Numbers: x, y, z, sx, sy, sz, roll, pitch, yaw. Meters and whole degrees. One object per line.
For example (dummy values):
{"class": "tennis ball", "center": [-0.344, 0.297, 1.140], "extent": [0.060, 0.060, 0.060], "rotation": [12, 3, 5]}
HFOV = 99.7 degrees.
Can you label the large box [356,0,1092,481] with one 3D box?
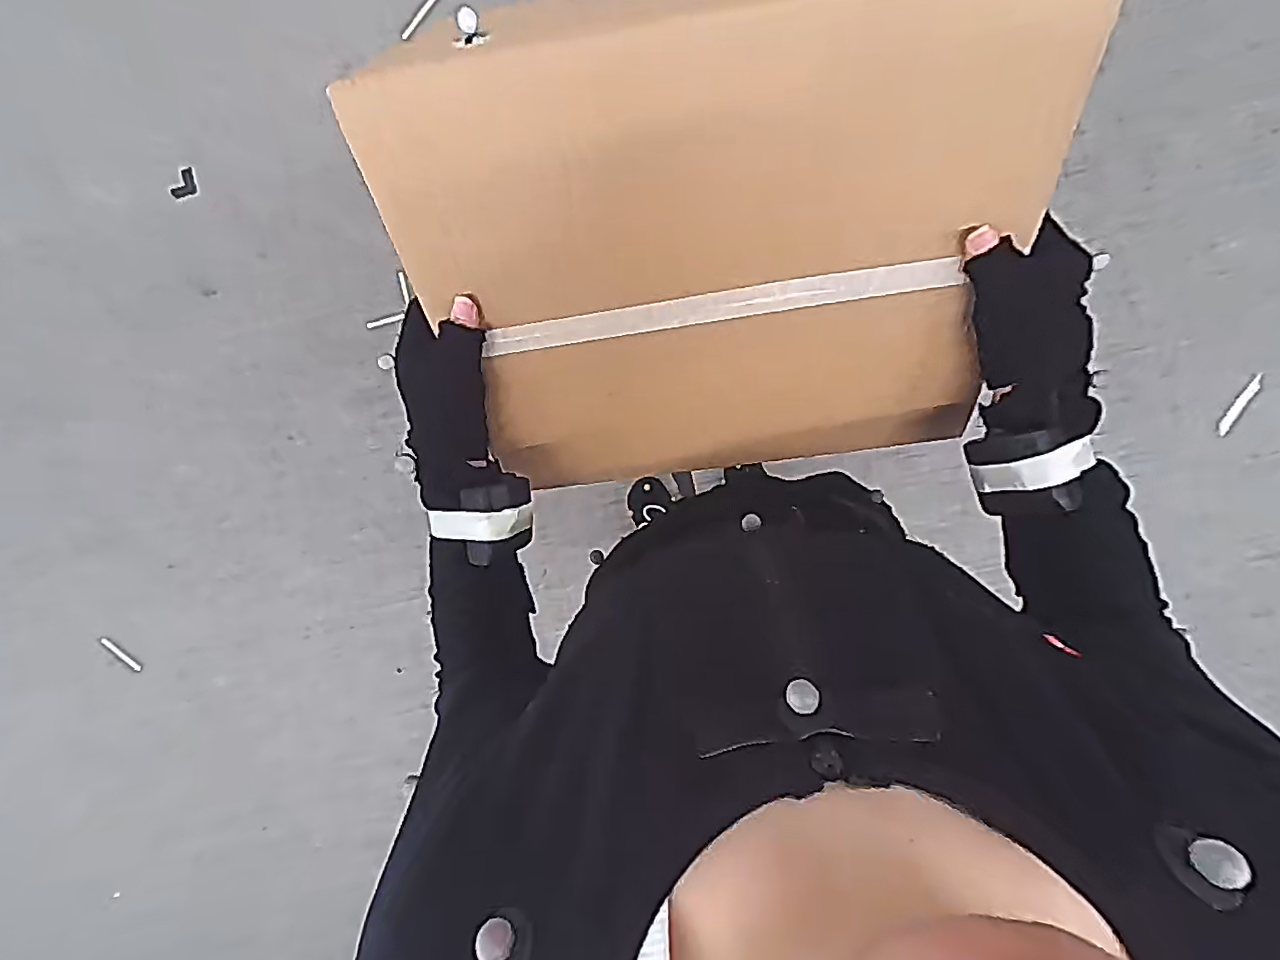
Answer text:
{"class": "large box", "center": [0.050, -0.235, 0.491], "extent": [0.408, 0.320, 0.320], "rotation": [-7, 136, 4]}
